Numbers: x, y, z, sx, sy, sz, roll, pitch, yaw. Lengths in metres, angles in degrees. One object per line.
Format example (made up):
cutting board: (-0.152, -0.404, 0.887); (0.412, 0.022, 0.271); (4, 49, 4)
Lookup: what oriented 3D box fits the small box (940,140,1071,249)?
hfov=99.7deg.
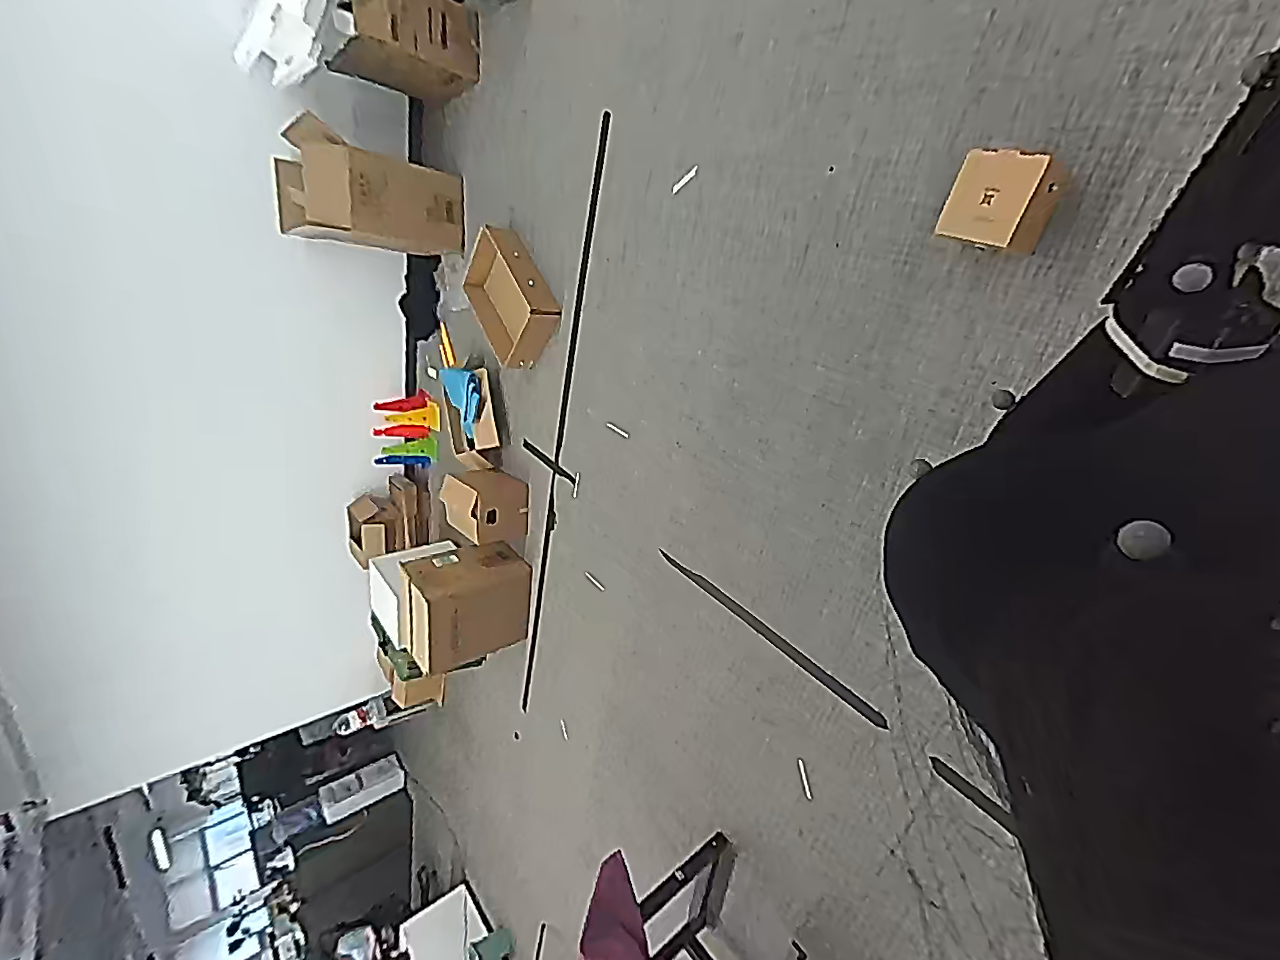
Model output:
small box: (0.809, -0.625, 1.192); (0.168, 0.176, 0.179); (38, 126, 39)
